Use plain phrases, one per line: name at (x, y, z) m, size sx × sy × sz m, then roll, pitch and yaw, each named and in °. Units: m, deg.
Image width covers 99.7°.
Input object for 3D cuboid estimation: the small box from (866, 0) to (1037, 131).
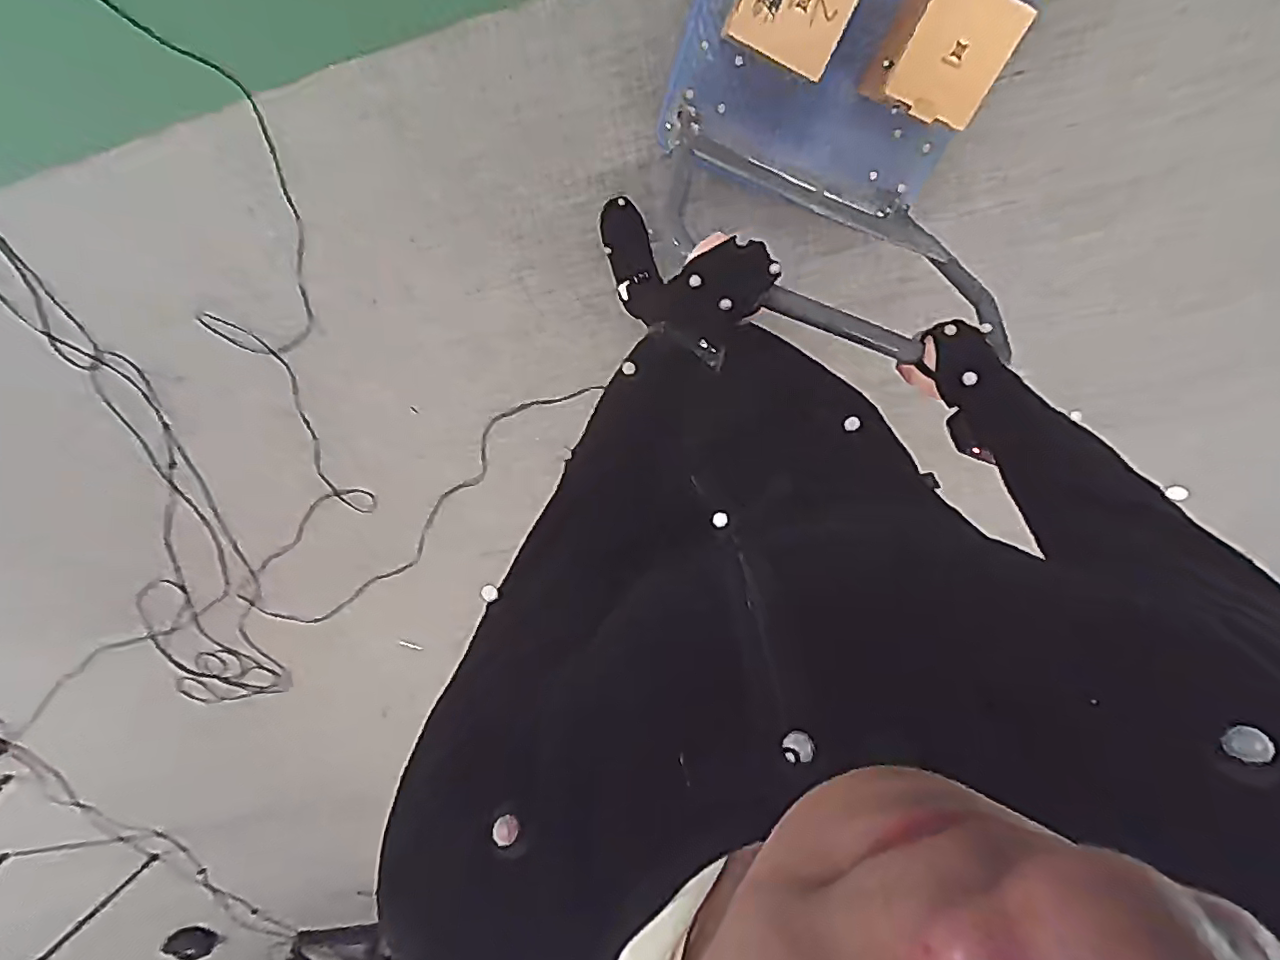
small box at (0.527, -0.750, 0.950) m, size 0.168 × 0.176 × 0.179 m, roll 18°, pitch 128°, yaw -10°
